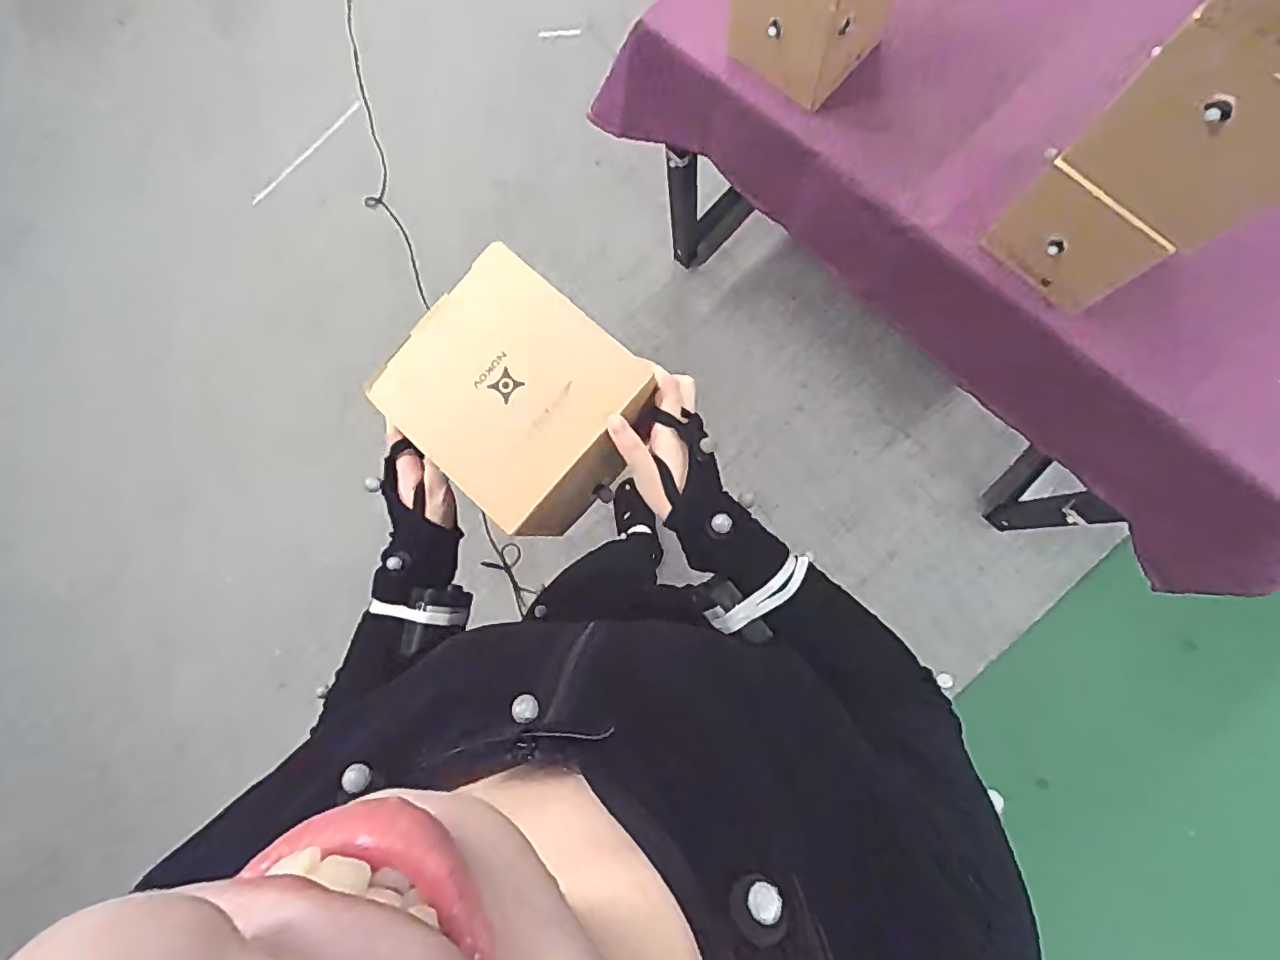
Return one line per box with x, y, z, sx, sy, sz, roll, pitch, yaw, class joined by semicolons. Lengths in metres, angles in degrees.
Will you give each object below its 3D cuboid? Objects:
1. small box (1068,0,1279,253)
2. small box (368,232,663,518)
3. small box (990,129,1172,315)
0.592;-0.367;0.534;0.168;0.176;0.179;-43;82;-1;small box
-0.096;-0.076;0.500;0.179;0.176;0.168;43;90;7;small box
0.599;-0.350;0.698;0.179;0.176;0.168;-43;81;-2;small box
